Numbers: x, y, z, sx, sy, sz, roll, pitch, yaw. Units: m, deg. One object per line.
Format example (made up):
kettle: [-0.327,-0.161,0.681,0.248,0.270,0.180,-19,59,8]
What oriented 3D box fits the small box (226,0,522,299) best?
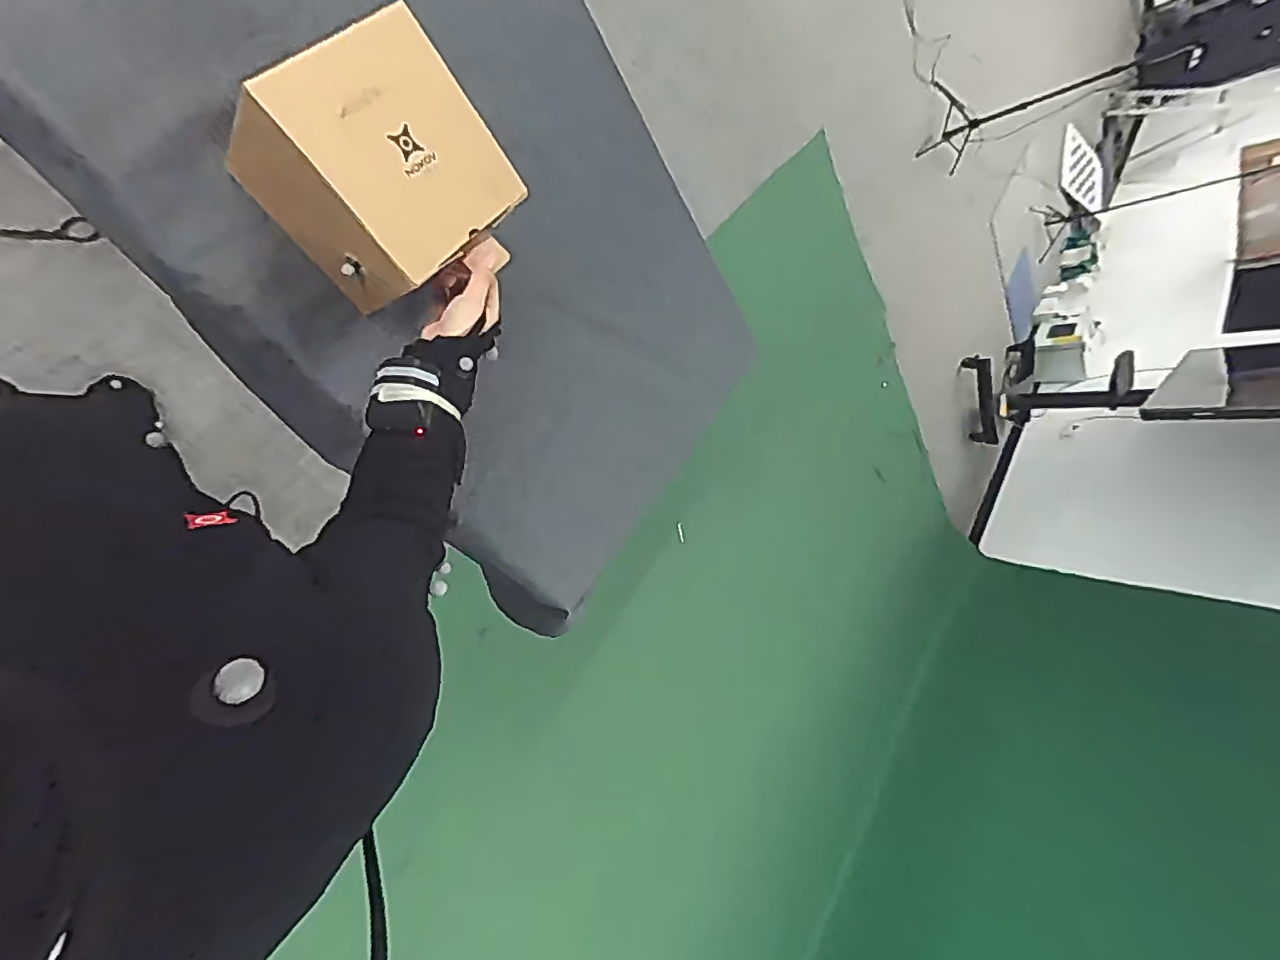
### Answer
small box: [-0.258,-0.298,0.530,0.179,0.176,0.168,51,61,-32]
